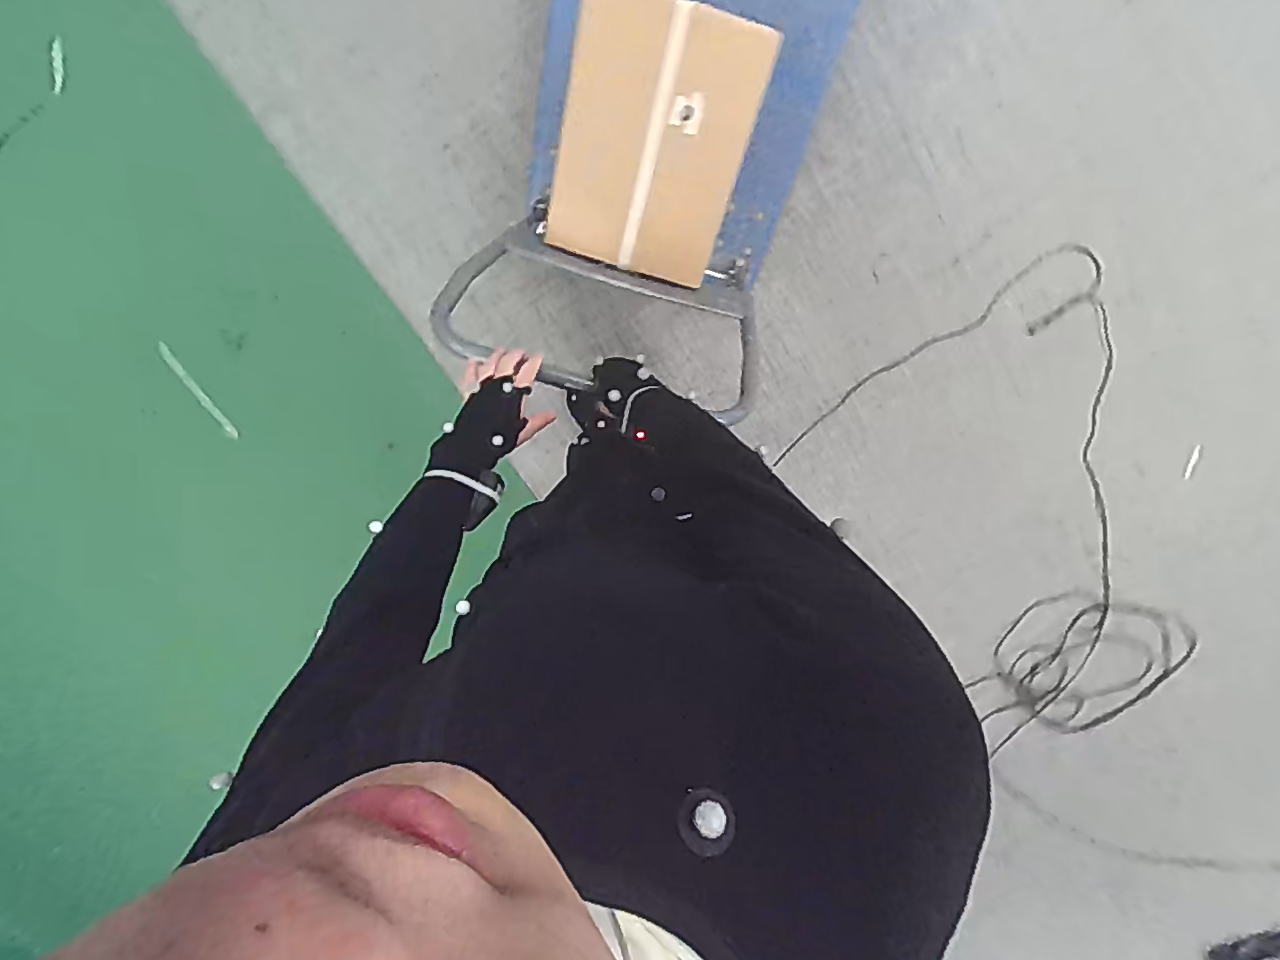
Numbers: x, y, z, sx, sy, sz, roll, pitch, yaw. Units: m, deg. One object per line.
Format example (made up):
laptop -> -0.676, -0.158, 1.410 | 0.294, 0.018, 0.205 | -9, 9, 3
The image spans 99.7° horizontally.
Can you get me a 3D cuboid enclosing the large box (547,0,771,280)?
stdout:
large box -> 0.030, -0.666, 1.072 | 0.320, 0.320, 0.408 | 16, 122, -4
